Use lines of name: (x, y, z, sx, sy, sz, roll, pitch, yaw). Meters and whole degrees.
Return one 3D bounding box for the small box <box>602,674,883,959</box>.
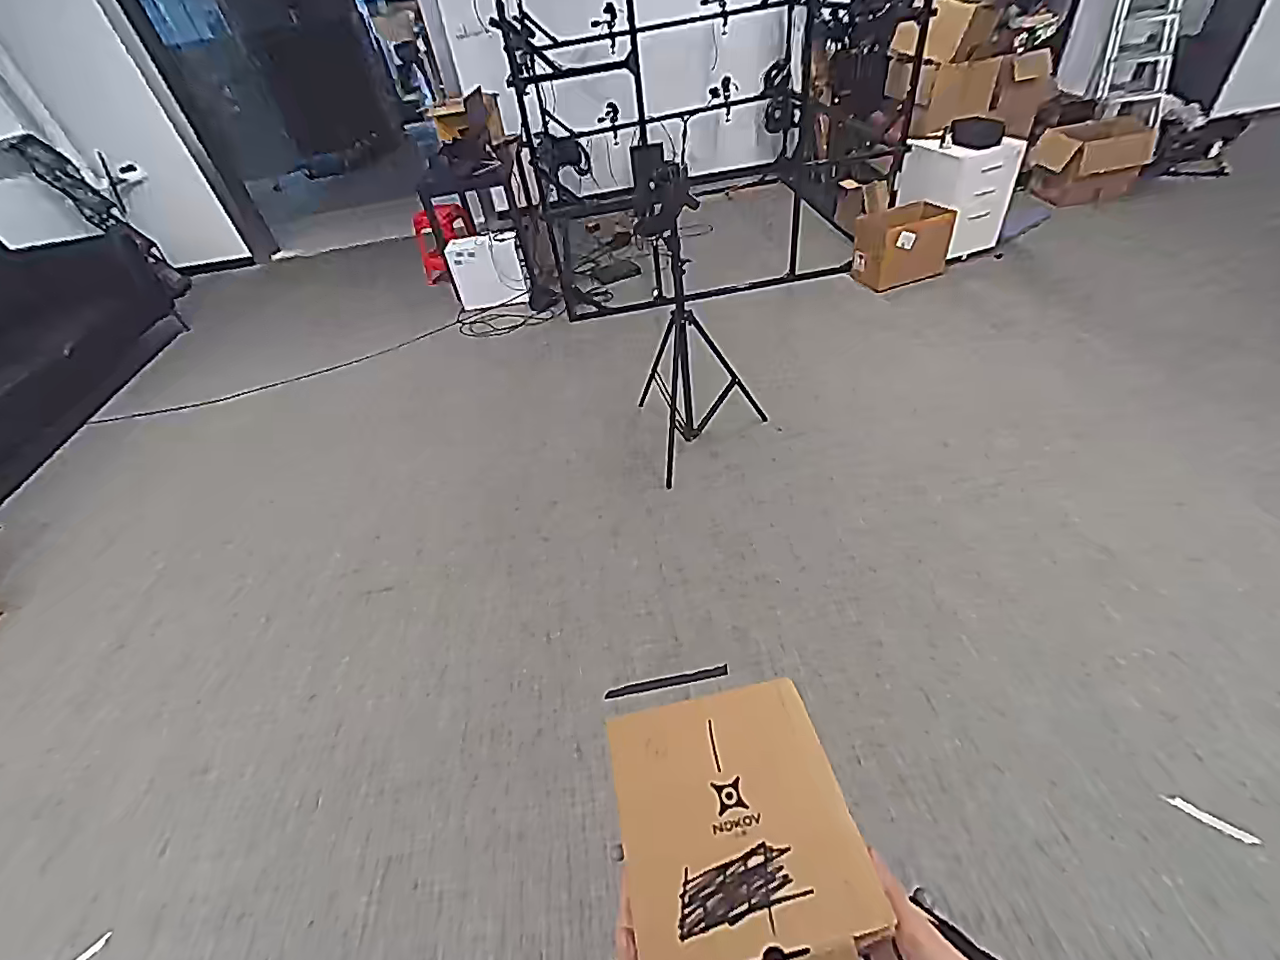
small box: (0.070, 0.297, 0.452, 0.168, 0.176, 0.179, -11, 42, -5)
